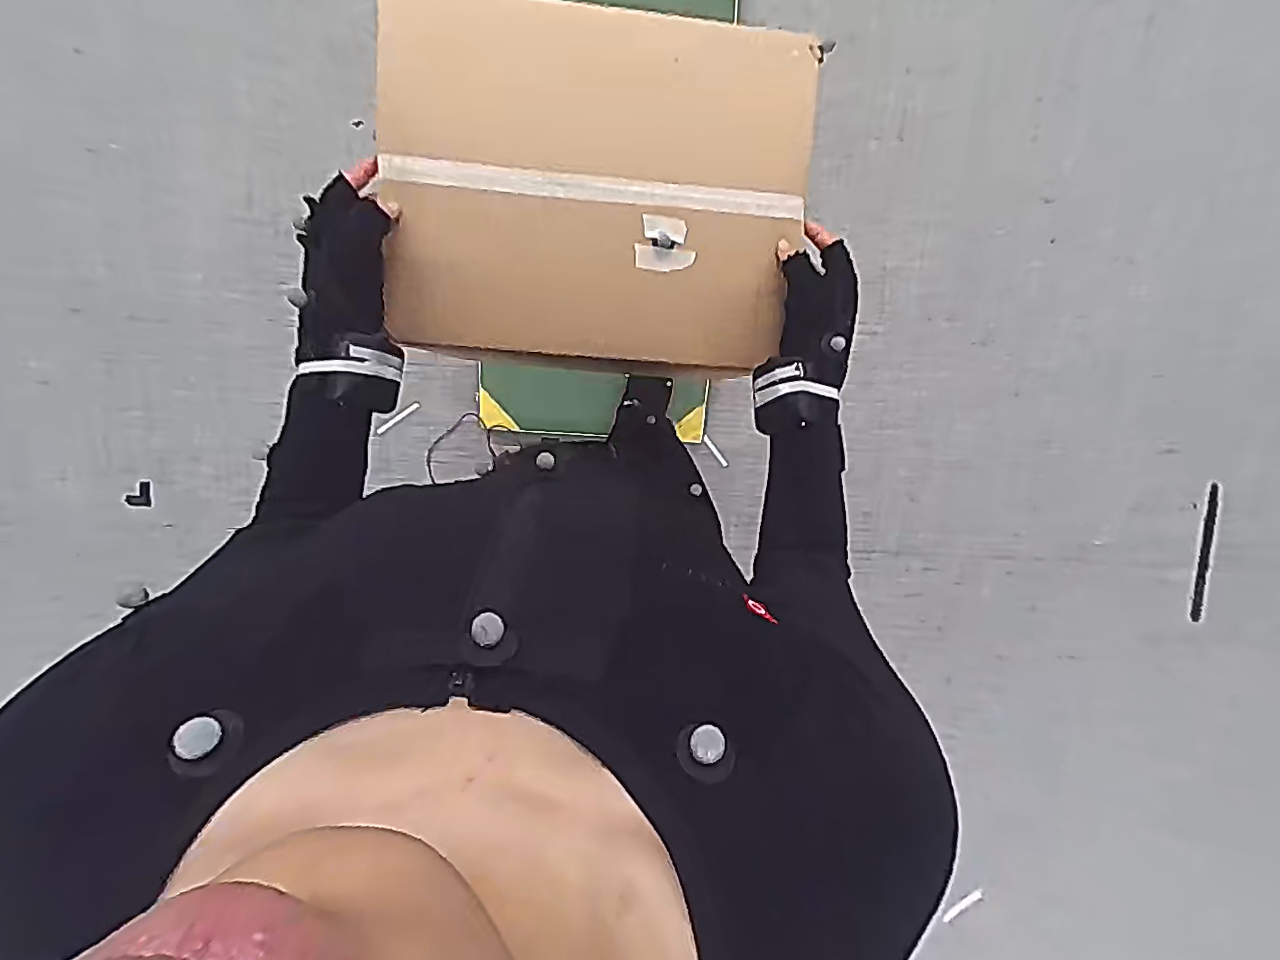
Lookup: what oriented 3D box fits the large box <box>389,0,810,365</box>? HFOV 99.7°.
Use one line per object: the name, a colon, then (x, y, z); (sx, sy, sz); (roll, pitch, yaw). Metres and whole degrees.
large box: (-0.053, -0.318, 0.674); (0.408, 0.320, 0.320); (3, 99, -6)
